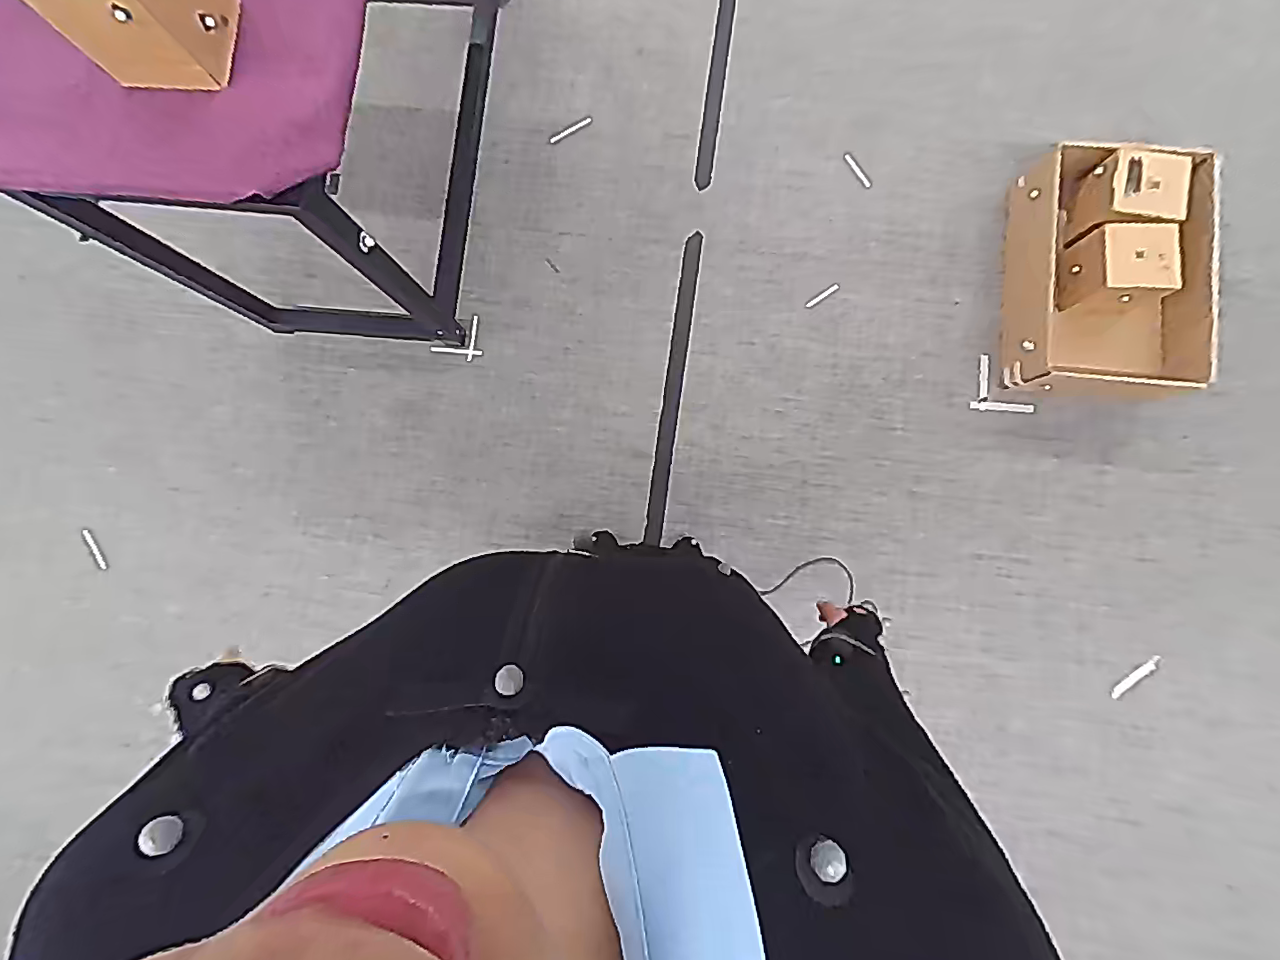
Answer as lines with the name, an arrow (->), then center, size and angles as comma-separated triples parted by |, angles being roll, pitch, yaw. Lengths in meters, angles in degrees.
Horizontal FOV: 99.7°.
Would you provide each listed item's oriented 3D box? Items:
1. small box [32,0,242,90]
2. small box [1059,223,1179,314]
small box -> -0.750, -0.721, 0.805 | 0.179, 0.176, 0.168 | 3, 83, 2
small box -> 1.227, -0.541, 1.399 | 0.179, 0.176, 0.168 | 2, 86, 3
